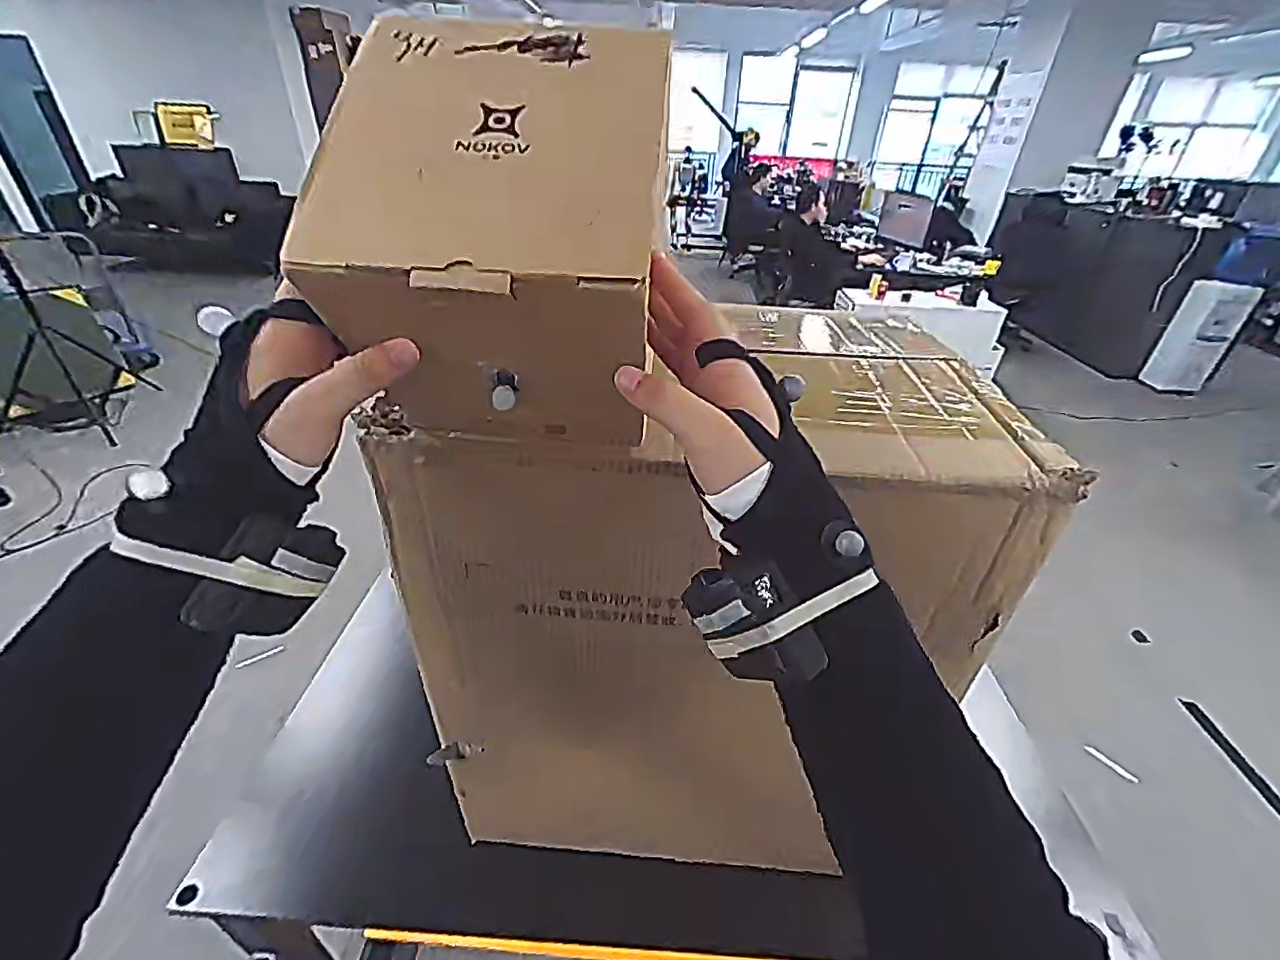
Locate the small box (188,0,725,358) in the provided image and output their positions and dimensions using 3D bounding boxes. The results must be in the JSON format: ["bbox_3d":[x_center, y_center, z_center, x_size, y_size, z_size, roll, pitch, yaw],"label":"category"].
[{"bbox_3d":[-0.049,-0.177,0.262,0.168,0.176,0.179,4,70,1],"label":"small box"}]
